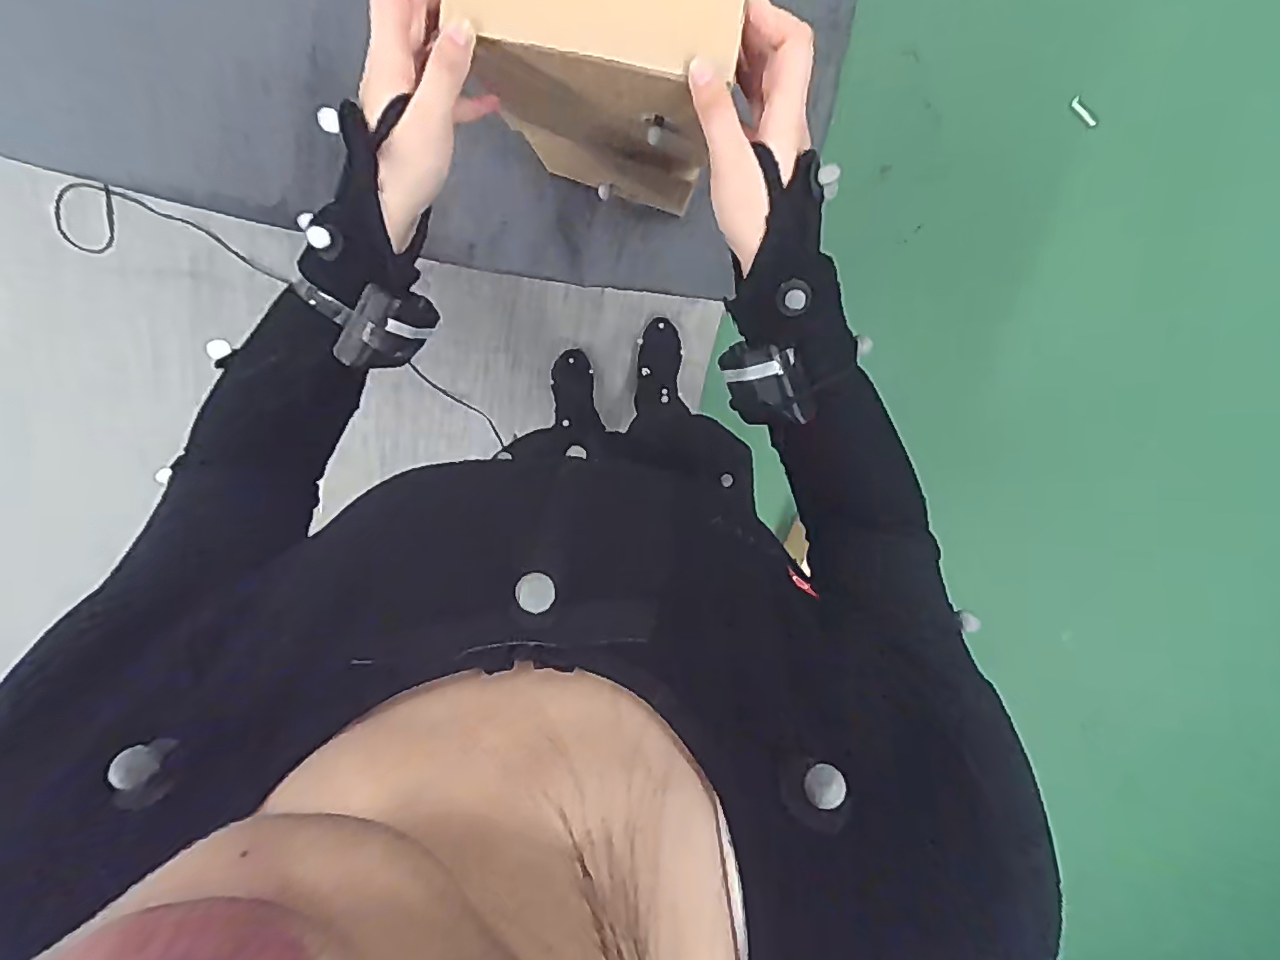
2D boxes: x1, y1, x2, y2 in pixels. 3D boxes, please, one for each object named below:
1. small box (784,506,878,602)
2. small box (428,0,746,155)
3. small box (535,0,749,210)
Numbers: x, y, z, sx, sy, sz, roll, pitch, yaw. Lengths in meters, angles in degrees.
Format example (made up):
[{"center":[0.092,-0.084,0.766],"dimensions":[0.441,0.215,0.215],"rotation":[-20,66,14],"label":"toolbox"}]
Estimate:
[{"center":[0.506,0.195,1.467],"dimensions":[0.168,0.176,0.179],"rotation":[17,108,-4],"label":"small box"},{"center":[-0.019,-0.340,0.360],"dimensions":[0.179,0.176,0.168],"rotation":[10,105,0],"label":"small box"},{"center":[-0.006,-0.386,0.516],"dimensions":[0.168,0.176,0.179],"rotation":[17,107,-4],"label":"small box"}]
